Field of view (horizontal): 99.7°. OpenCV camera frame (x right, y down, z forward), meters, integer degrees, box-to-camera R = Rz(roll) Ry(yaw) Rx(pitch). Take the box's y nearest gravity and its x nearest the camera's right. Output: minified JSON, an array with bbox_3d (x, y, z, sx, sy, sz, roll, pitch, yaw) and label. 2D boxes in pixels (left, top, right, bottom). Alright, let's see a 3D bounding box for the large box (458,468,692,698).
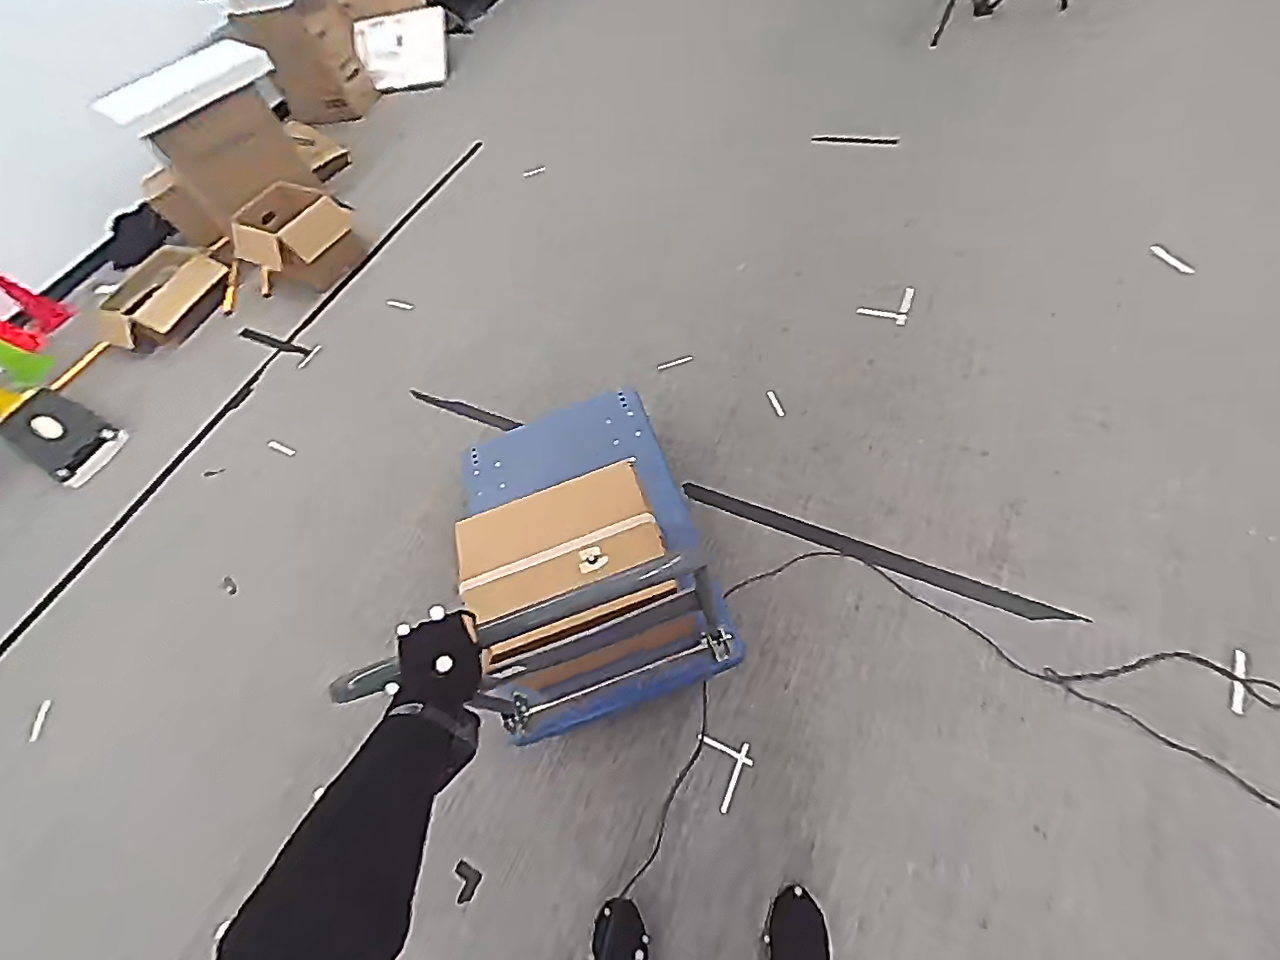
[{"bbox_3d":[-0.133,0.238,1.197,0.408,0.320,0.320,-20,58,-1],"label":"large box"}]
